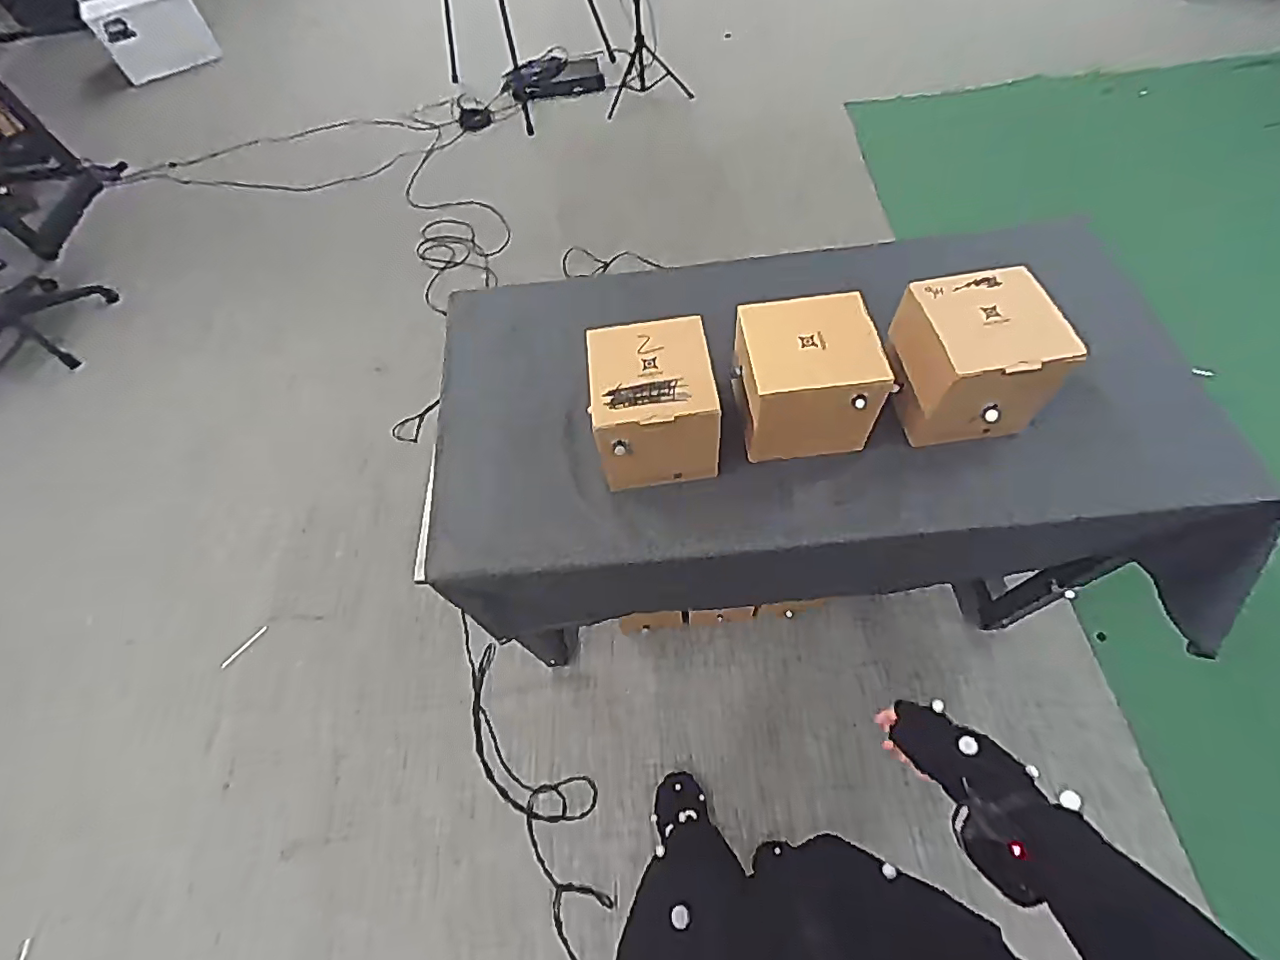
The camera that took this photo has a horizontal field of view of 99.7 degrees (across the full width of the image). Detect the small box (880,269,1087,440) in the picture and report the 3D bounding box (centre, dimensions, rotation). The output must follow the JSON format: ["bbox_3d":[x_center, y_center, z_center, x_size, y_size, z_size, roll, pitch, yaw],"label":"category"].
[{"bbox_3d":[0.477,-0.171,0.785,0.168,0.176,0.179,-7,60,1],"label":"small box"}]
